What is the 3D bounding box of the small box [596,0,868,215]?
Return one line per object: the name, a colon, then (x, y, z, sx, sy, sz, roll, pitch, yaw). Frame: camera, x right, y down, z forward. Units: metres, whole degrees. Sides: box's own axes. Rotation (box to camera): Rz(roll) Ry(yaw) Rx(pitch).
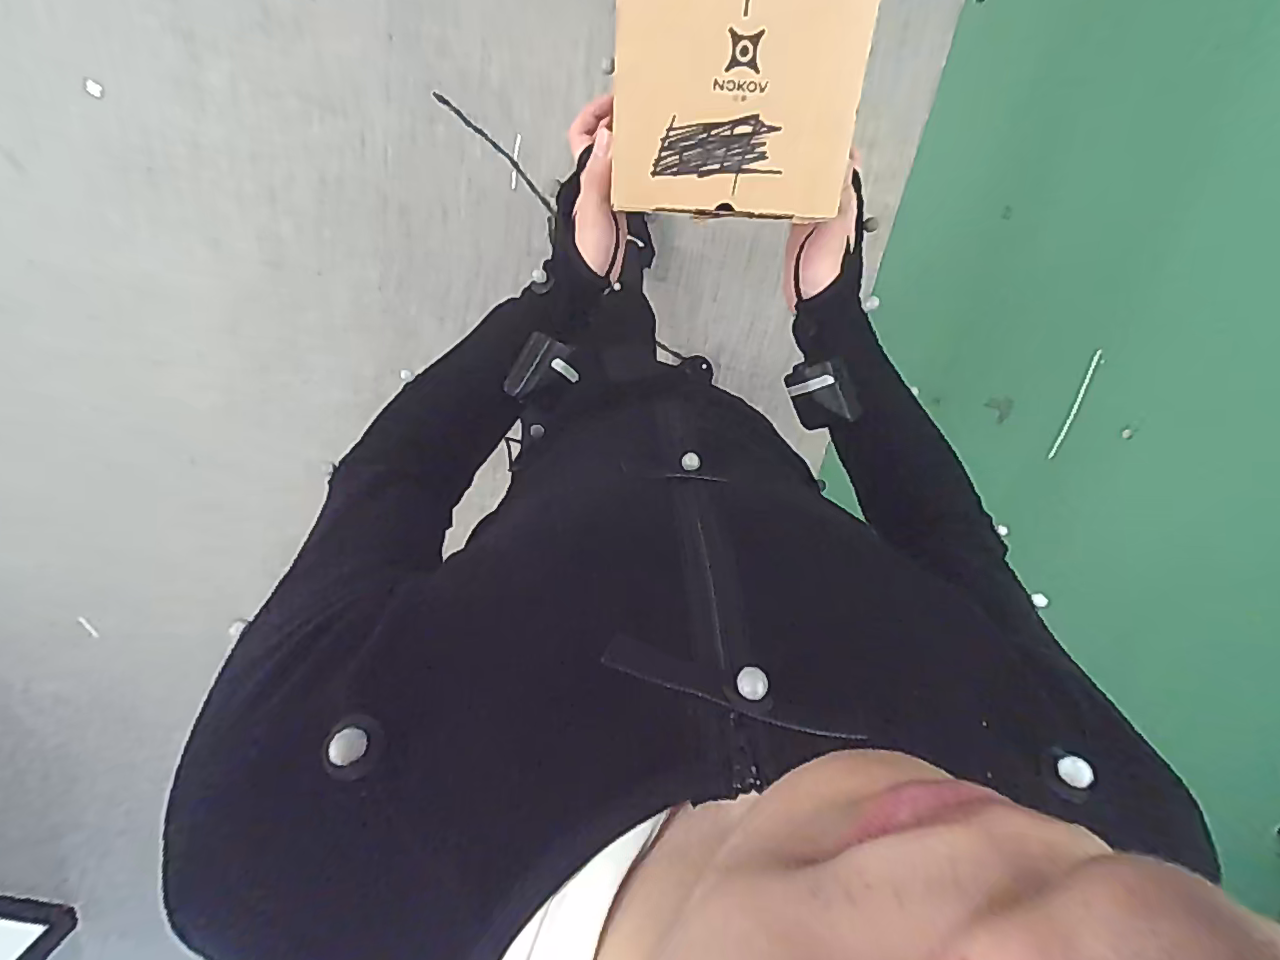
small box: (0.057, -0.307, 0.413, 0.168, 0.176, 0.179, 3, 117, -1)
